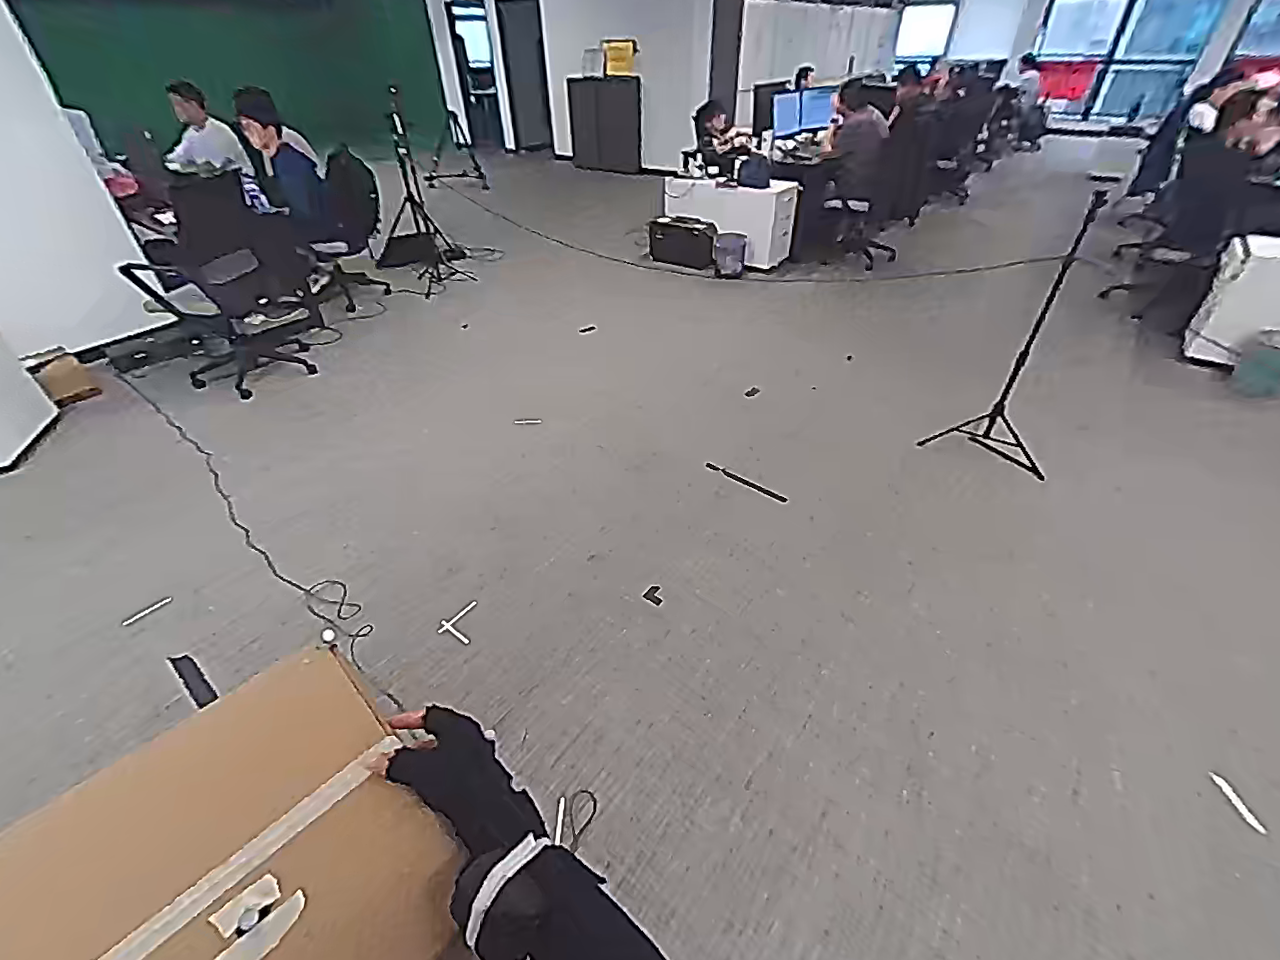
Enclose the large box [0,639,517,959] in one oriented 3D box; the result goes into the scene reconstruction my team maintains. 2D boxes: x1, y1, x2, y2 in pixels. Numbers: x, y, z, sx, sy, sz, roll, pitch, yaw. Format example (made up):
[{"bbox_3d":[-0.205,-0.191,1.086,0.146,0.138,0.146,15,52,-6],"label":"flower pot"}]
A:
[{"bbox_3d":[-0.374,0.447,0.506,0.320,0.320,0.408,37,50,26],"label":"large box"}]
